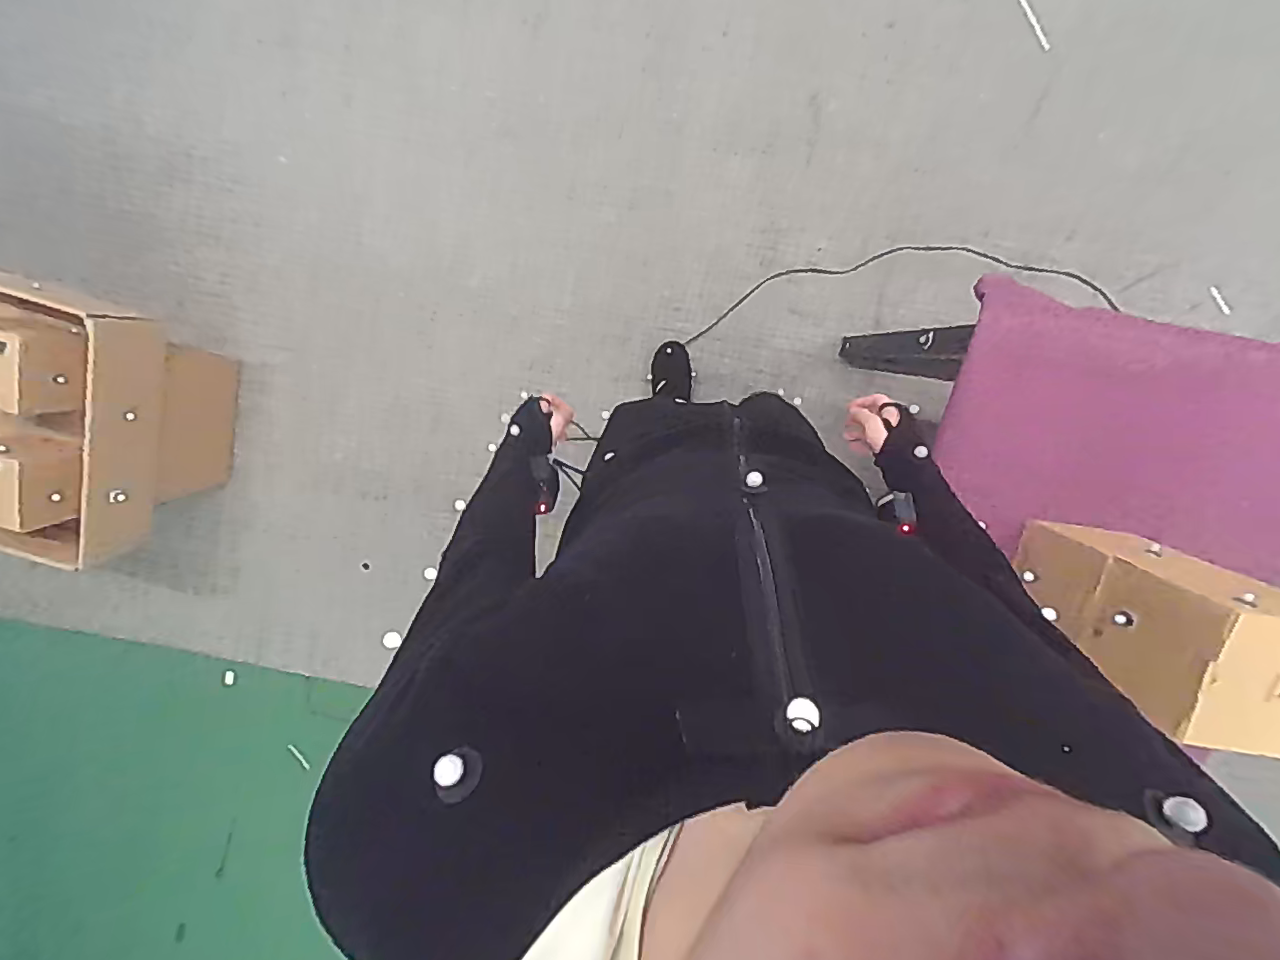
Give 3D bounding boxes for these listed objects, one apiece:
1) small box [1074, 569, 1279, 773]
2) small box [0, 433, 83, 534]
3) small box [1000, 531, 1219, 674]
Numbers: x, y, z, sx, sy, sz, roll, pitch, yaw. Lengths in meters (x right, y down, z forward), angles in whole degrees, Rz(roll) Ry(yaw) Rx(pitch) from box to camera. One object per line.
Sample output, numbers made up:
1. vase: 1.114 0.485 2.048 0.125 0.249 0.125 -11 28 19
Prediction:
1. small box: 0.694 0.221 0.656 0.179 0.176 0.168 8 104 1
2. small box: -1.464 0.002 1.261 0.168 0.176 0.179 15 104 -1
3. small box: 0.697 0.185 0.815 0.179 0.176 0.168 9 103 0
